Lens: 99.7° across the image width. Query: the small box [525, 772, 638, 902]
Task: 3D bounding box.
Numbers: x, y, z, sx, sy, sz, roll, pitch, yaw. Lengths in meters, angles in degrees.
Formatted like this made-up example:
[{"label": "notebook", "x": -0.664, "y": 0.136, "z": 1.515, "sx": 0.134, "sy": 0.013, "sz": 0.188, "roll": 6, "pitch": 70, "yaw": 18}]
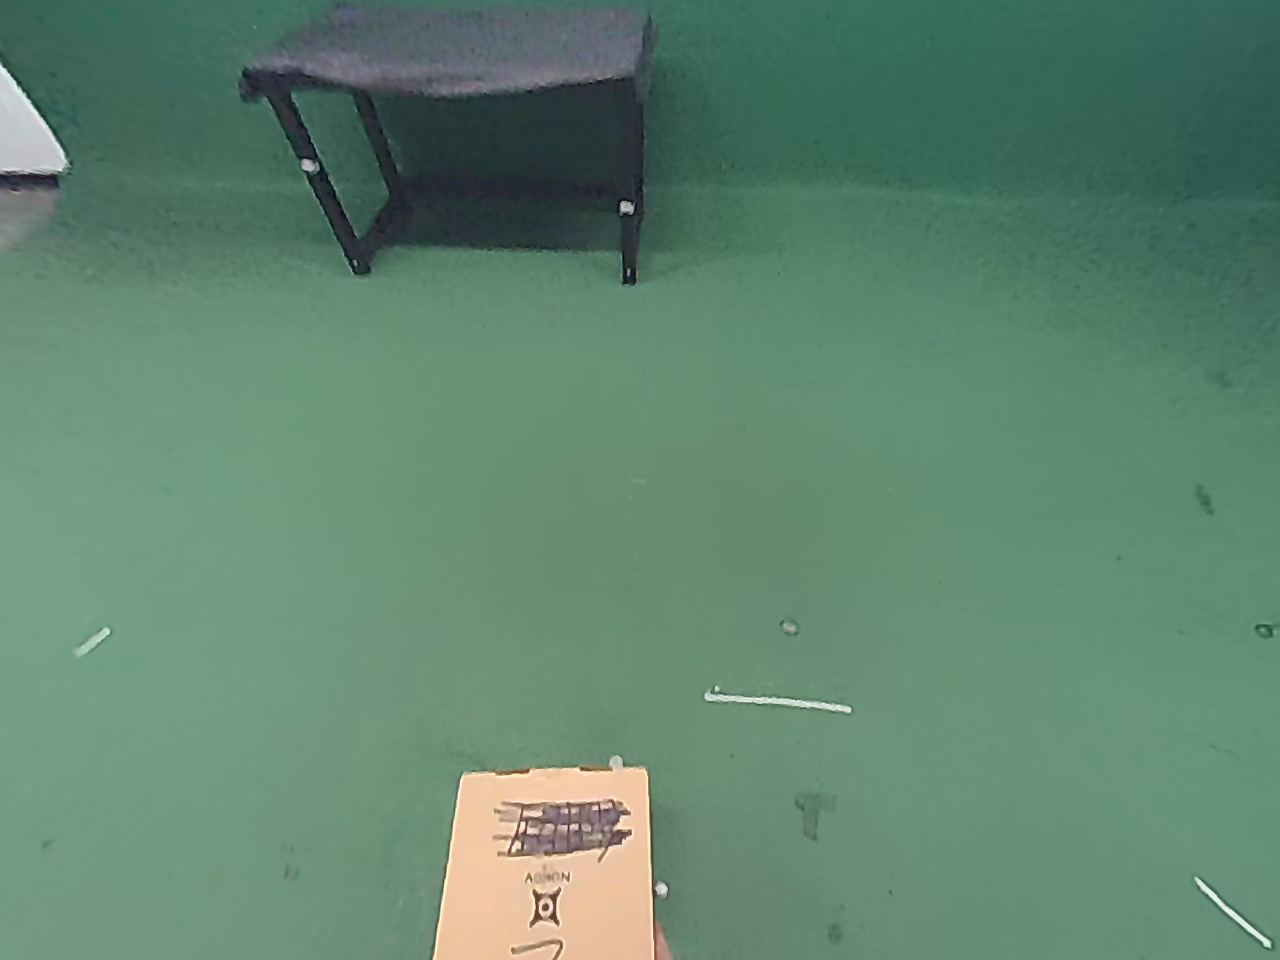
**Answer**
[{"label": "small box", "x": -0.093, "y": 0.639, "z": 0.966, "sx": 0.168, "sy": 0.176, "sz": 0.179, "roll": 2, "pitch": 51, "yaw": 4}]
